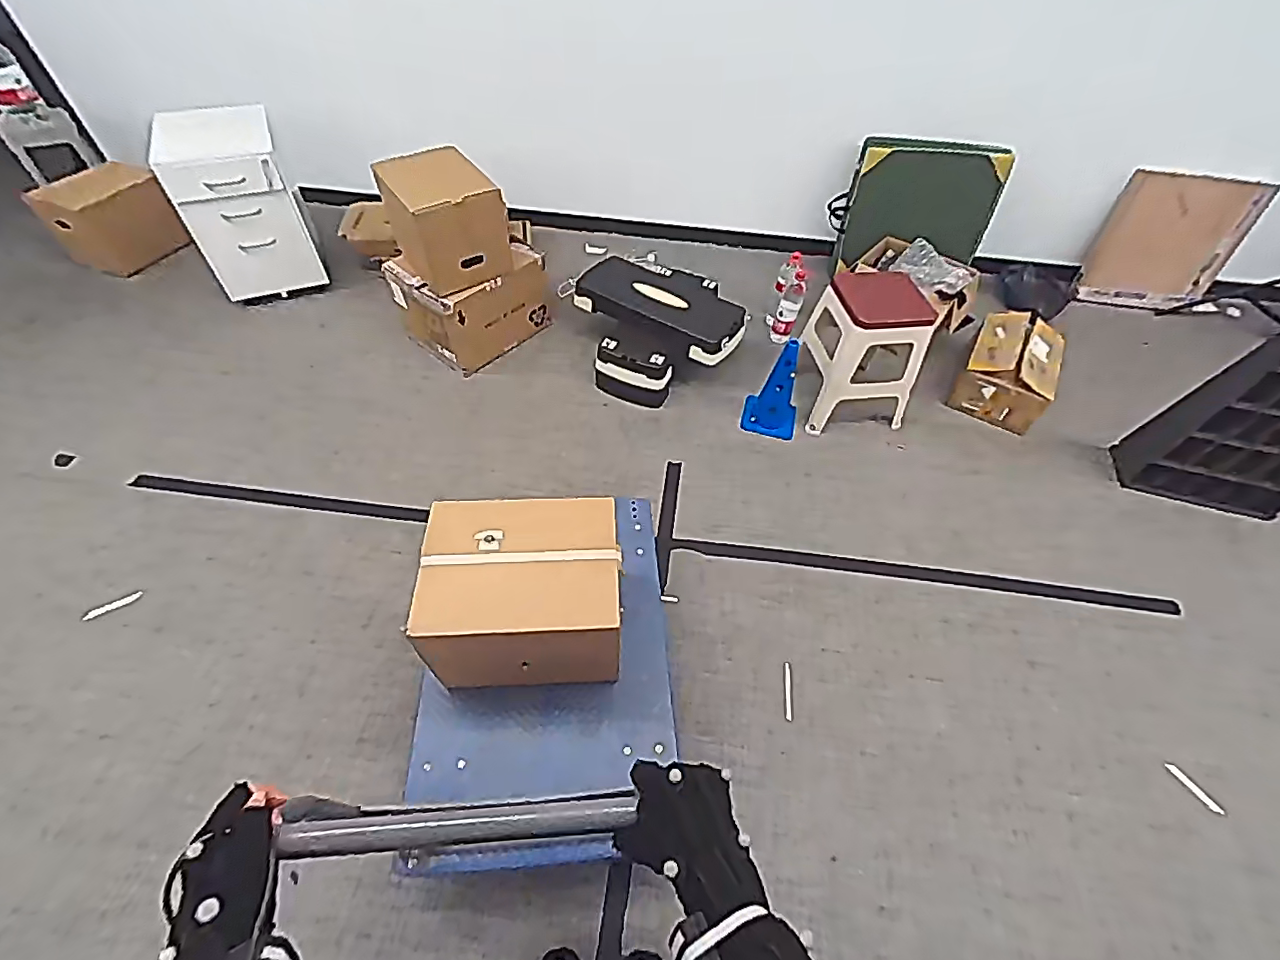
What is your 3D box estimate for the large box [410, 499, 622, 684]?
[{"bbox_3d":[-0.251,0.261,1.238,0.408,0.320,0.320,-1,52,-4],"label":"large box"}]
